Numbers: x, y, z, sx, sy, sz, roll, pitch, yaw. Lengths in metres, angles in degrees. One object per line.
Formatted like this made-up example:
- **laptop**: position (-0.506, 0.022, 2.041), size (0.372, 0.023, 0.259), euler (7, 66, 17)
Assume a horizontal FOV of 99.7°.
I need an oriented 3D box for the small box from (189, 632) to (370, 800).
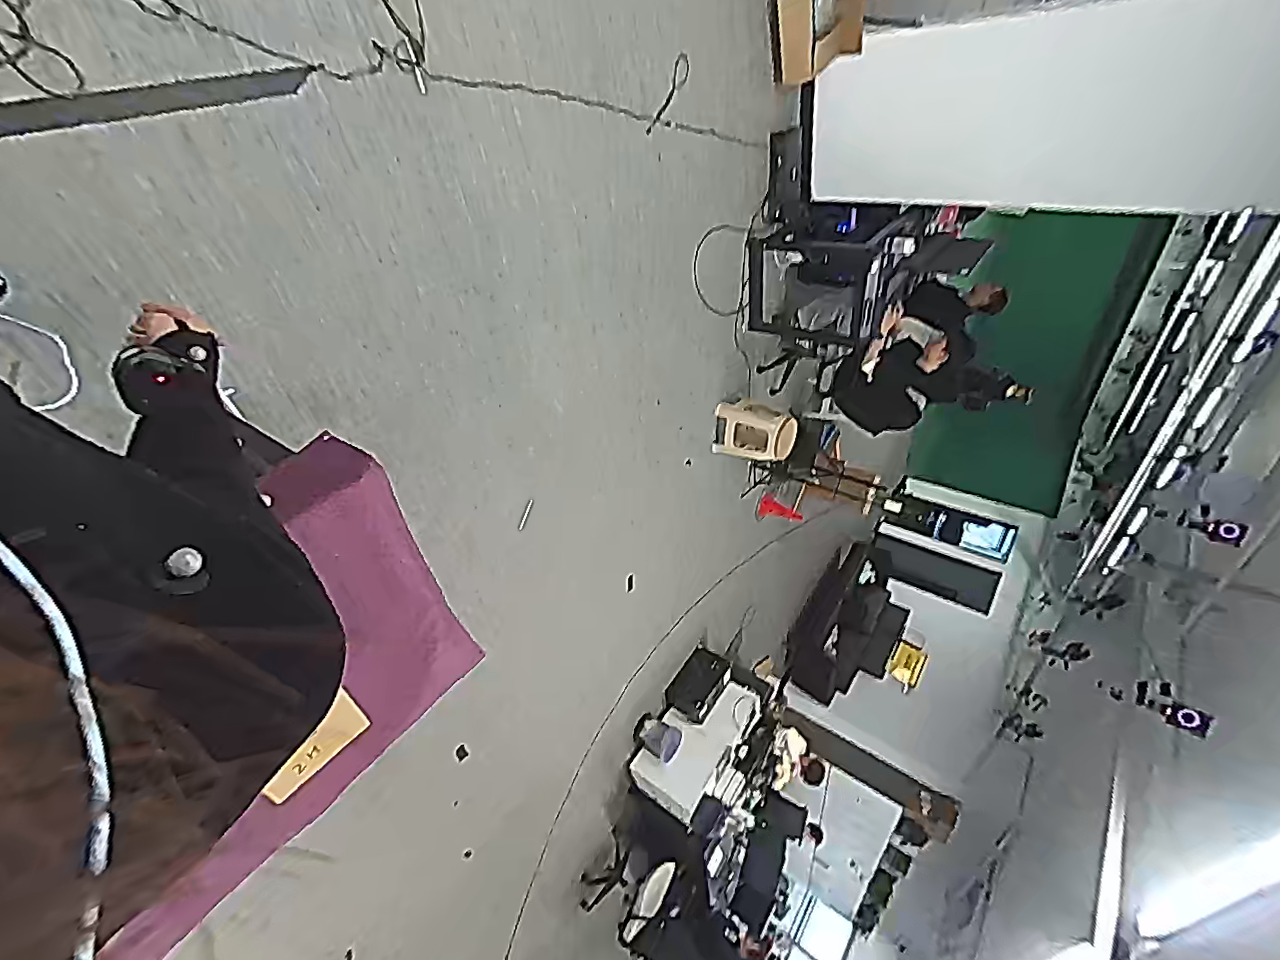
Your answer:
- **small box**: position (-0.603, 0.382, 0.909), size (0.168, 0.176, 0.179), euler (-41, 138, -36)
